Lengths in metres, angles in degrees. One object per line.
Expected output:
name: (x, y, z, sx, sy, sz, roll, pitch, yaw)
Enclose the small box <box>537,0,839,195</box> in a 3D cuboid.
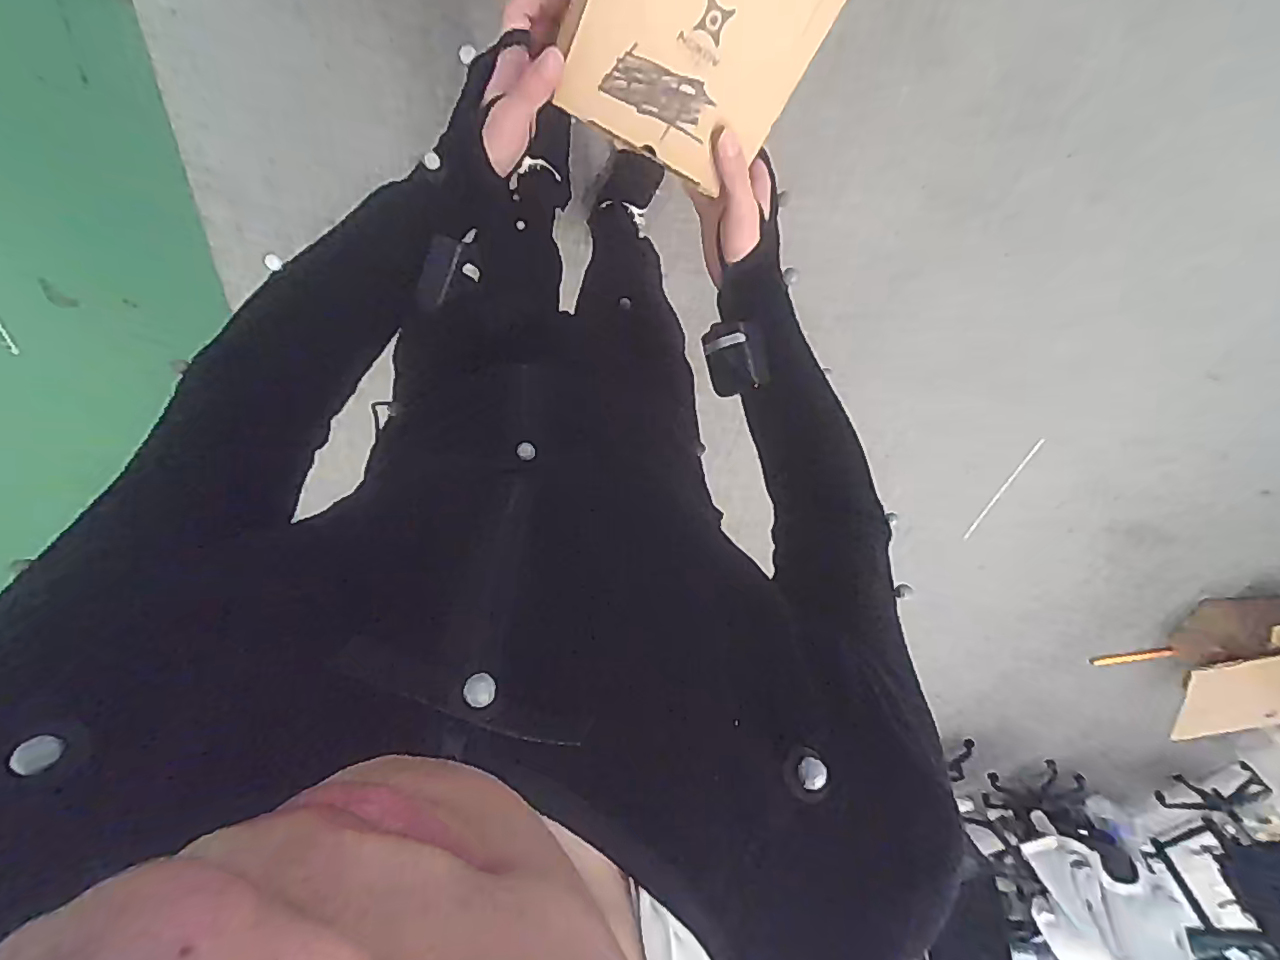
small box: (0.026, -0.372, 0.426, 0.168, 0.176, 0.179, 14, 129, -29)
